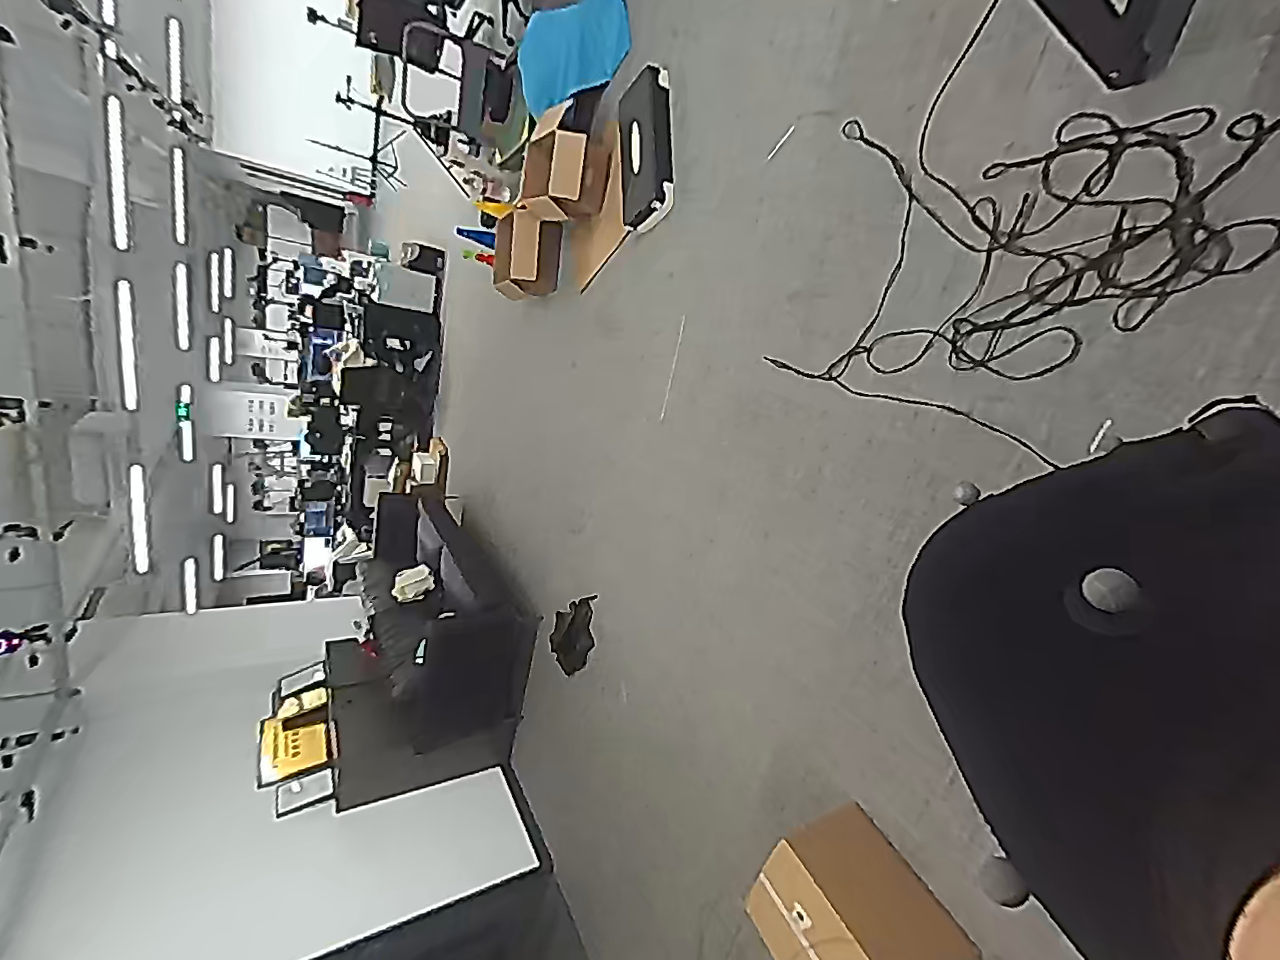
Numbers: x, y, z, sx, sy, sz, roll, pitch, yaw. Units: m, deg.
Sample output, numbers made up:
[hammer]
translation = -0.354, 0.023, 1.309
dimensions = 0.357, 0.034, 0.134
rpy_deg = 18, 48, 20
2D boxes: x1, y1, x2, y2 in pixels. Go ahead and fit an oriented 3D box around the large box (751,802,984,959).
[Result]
[large box]
translation = 0.572, 1.159, 1.413
dimensions = 0.408, 0.320, 0.320
rpy_deg = 46, 126, 49
